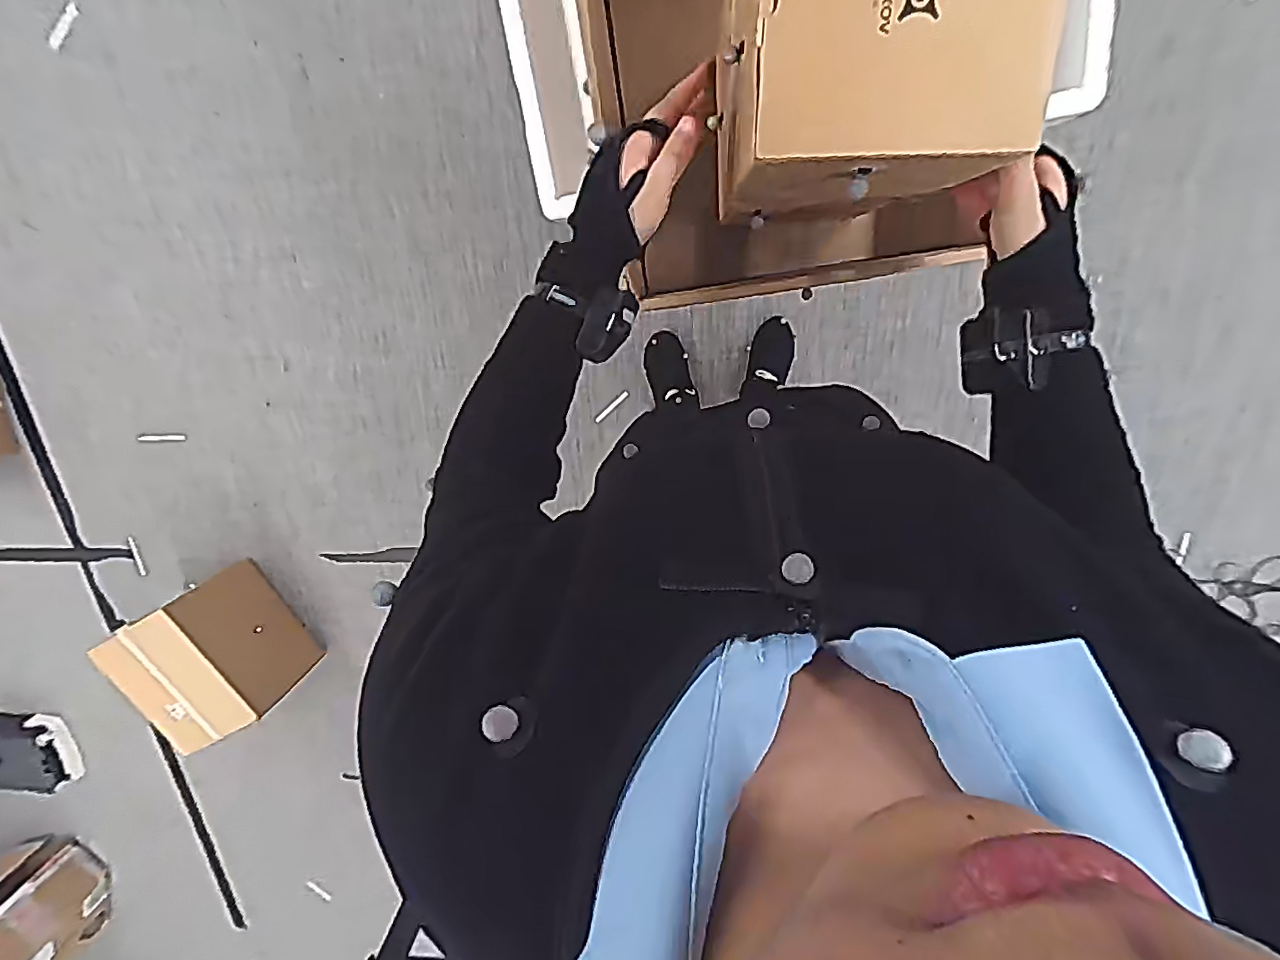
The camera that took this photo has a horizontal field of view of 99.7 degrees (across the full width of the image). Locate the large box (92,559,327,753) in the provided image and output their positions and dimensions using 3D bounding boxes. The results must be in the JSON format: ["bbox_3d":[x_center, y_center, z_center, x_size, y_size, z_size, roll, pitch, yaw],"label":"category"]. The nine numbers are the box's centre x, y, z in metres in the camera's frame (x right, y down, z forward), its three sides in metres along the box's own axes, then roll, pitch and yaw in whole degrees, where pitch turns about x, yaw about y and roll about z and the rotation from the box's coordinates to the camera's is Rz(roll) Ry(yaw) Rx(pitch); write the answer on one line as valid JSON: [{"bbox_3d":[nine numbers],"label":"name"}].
[{"bbox_3d":[-1.275,0.522,1.646,0.320,0.320,0.408,-27,105,13],"label":"large box"}]
